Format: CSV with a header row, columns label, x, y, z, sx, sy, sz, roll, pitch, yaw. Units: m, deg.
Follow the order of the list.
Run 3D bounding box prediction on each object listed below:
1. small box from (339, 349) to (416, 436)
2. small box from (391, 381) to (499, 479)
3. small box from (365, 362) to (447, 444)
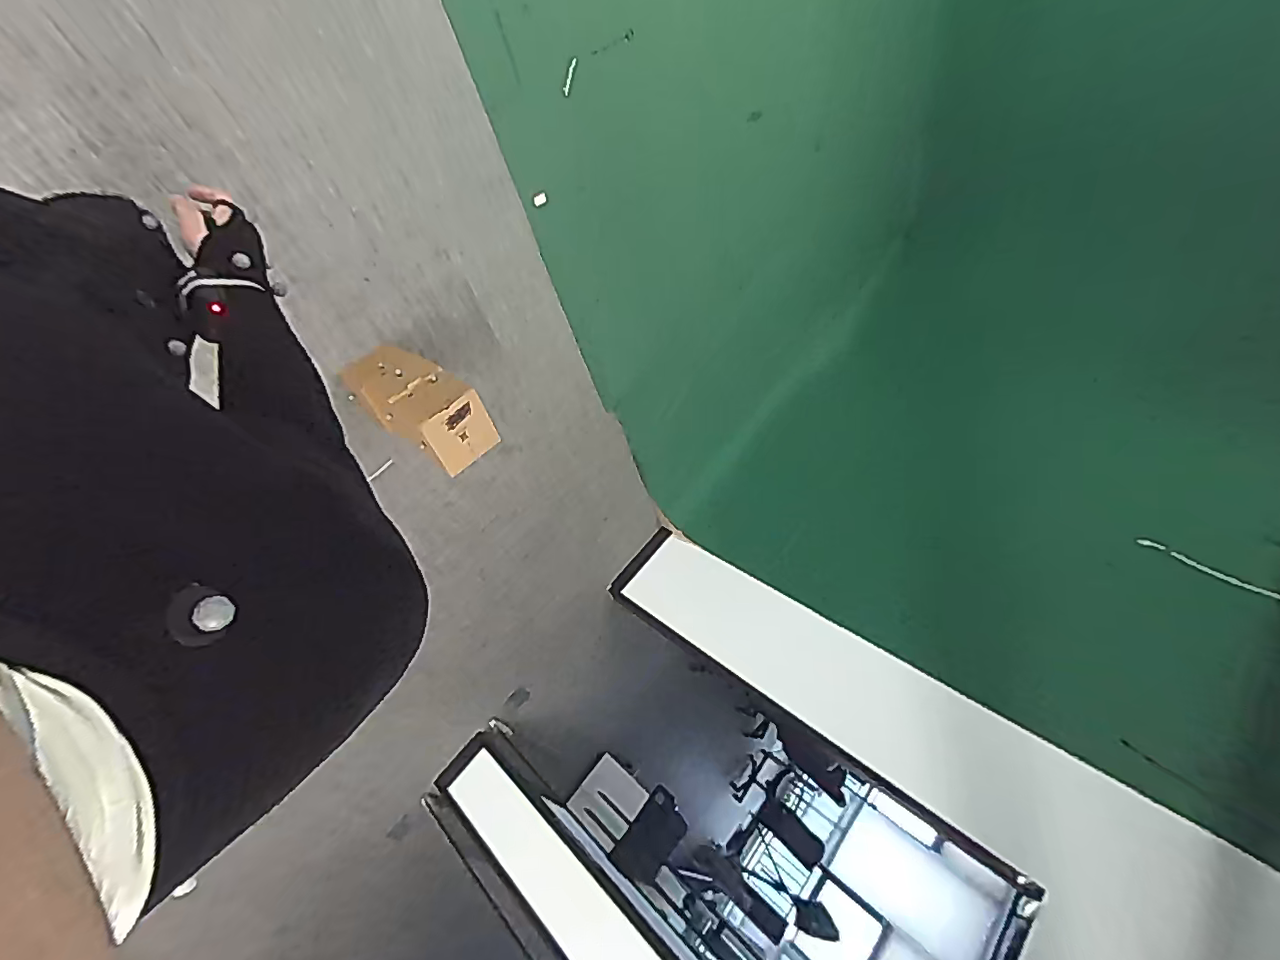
label,x,y,z,sx,sy,sz,roll,pitch,yaw
small box,-0.737,-0.262,1.584,0.179,0.176,0.168,-42,138,-26
small box,-0.503,-0.138,1.391,0.168,0.176,0.179,-44,140,-25
small box,-0.617,-0.209,1.487,0.168,0.176,0.179,-43,138,-26
